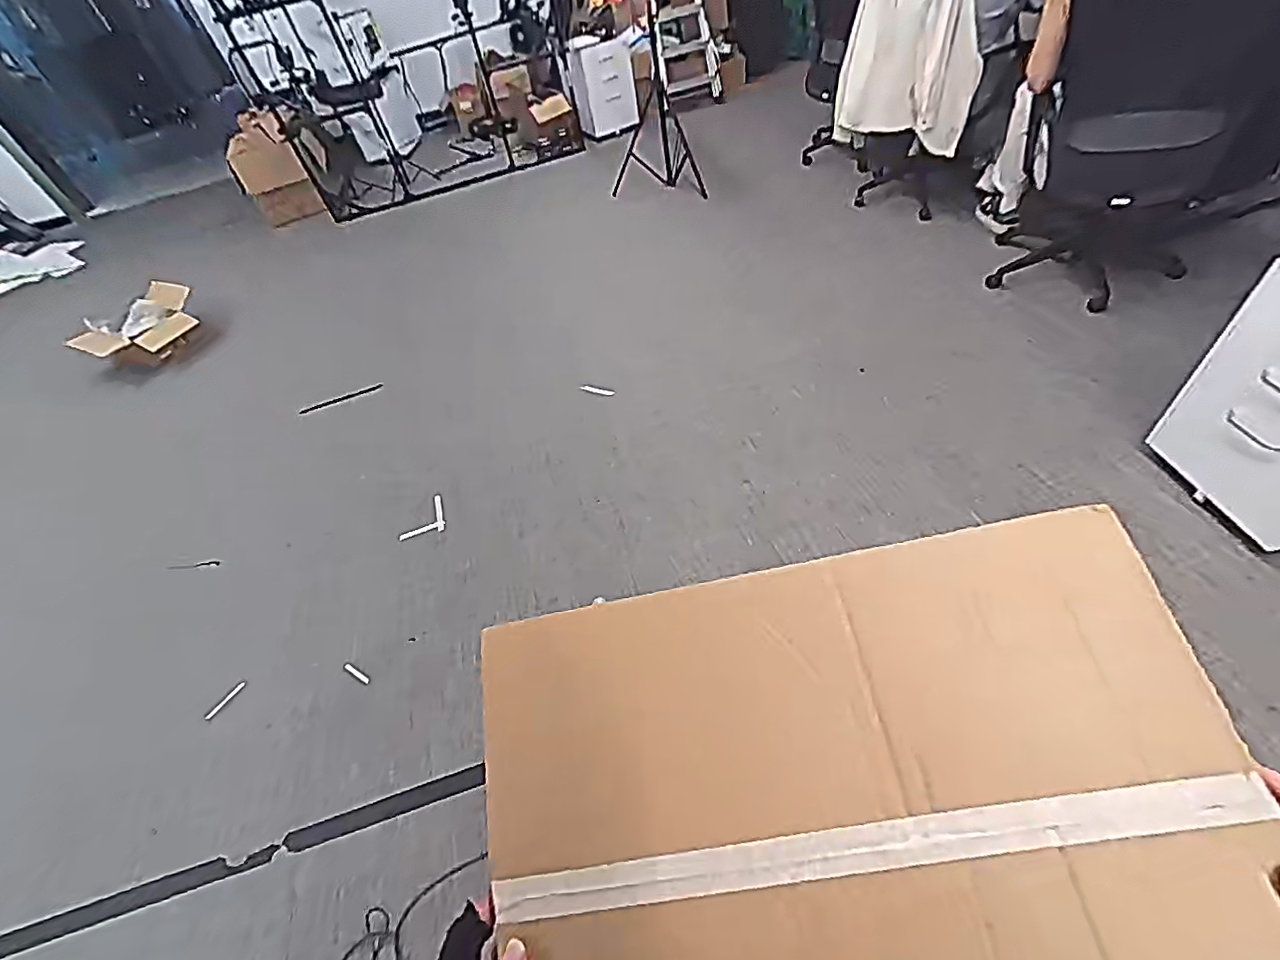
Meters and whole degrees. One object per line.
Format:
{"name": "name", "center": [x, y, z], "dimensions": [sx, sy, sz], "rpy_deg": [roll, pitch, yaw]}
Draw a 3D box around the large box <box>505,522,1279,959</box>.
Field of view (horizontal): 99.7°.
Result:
{"name": "large box", "center": [0.148, 0.264, 0.434], "dimensions": [0.408, 0.320, 0.320], "rpy_deg": [-13, 67, 7]}
